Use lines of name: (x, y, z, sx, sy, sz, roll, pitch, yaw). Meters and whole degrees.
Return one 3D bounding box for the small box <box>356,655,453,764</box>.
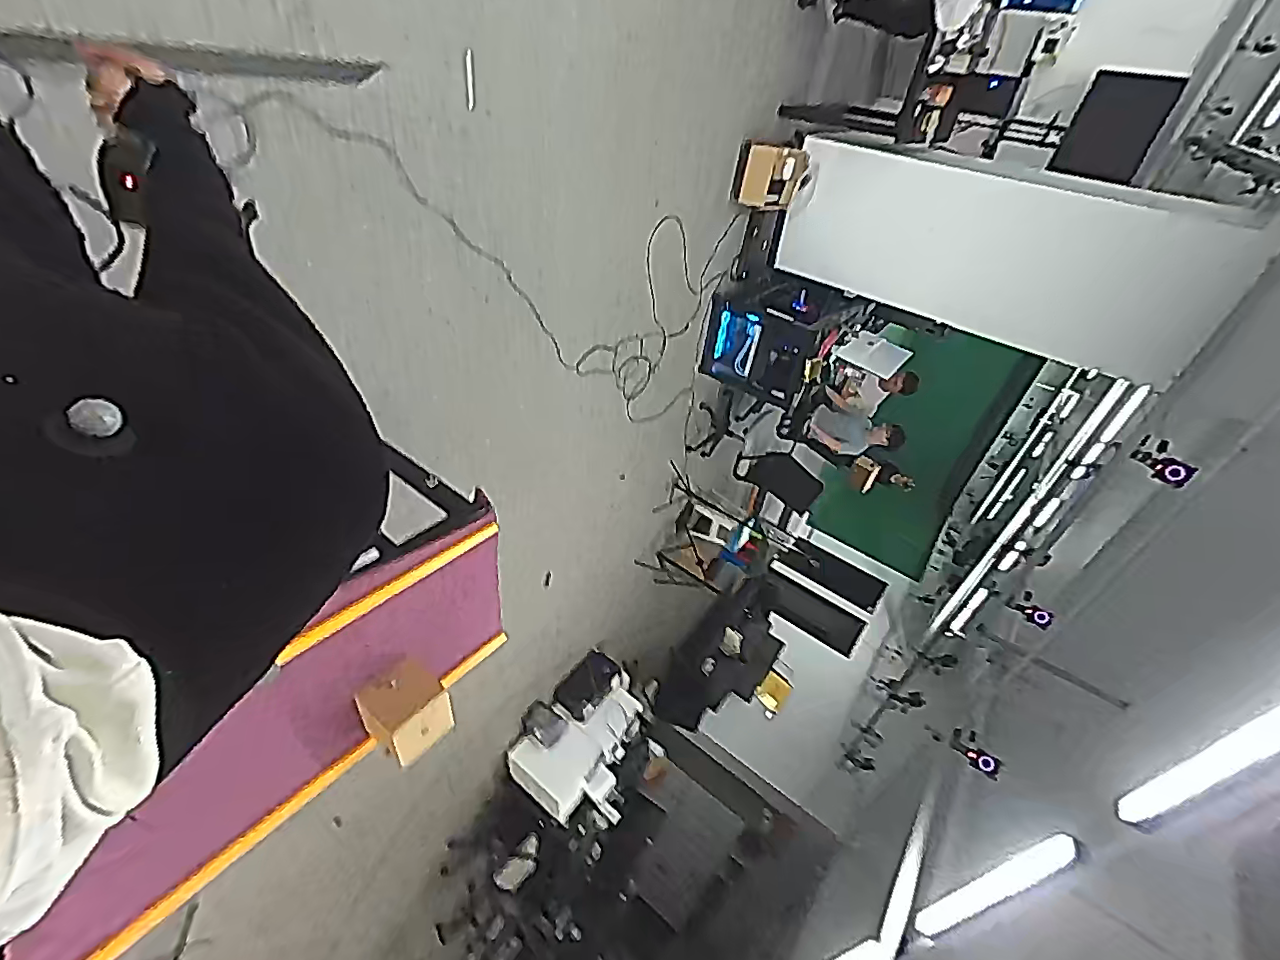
small box: (-0.630, 0.610, 1.453, 0.168, 0.176, 0.179, -36, 144, -43)
